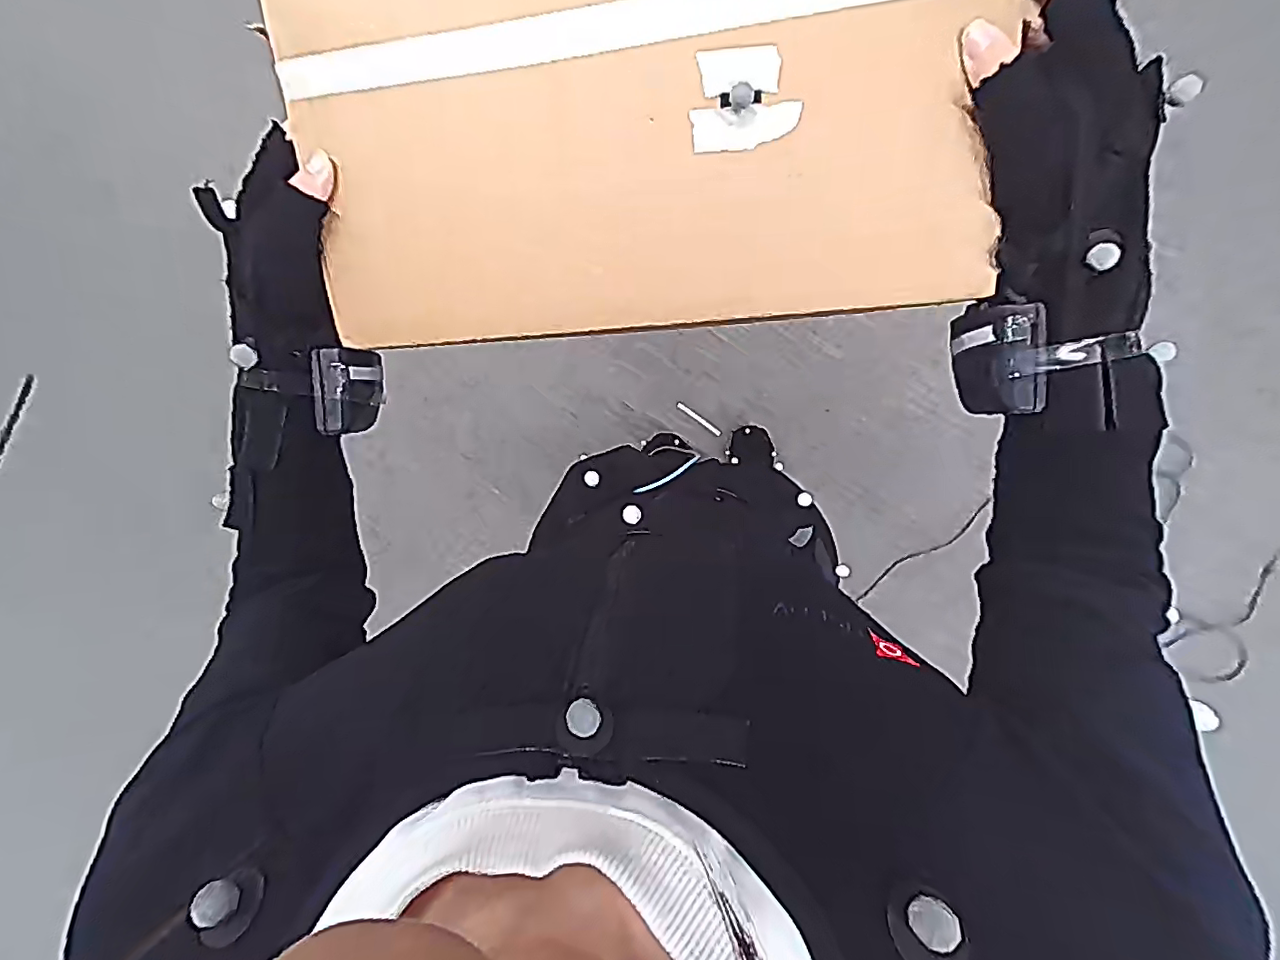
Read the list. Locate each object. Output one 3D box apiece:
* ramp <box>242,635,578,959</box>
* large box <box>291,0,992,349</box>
[{"bbox_3d":[-0.671,0.982,1.572,0.509,0.206,0.991,37,99,6],"label":"ramp"},{"bbox_3d":[0.006,-0.293,0.452,0.408,0.320,0.320,-4,106,8],"label":"large box"}]
